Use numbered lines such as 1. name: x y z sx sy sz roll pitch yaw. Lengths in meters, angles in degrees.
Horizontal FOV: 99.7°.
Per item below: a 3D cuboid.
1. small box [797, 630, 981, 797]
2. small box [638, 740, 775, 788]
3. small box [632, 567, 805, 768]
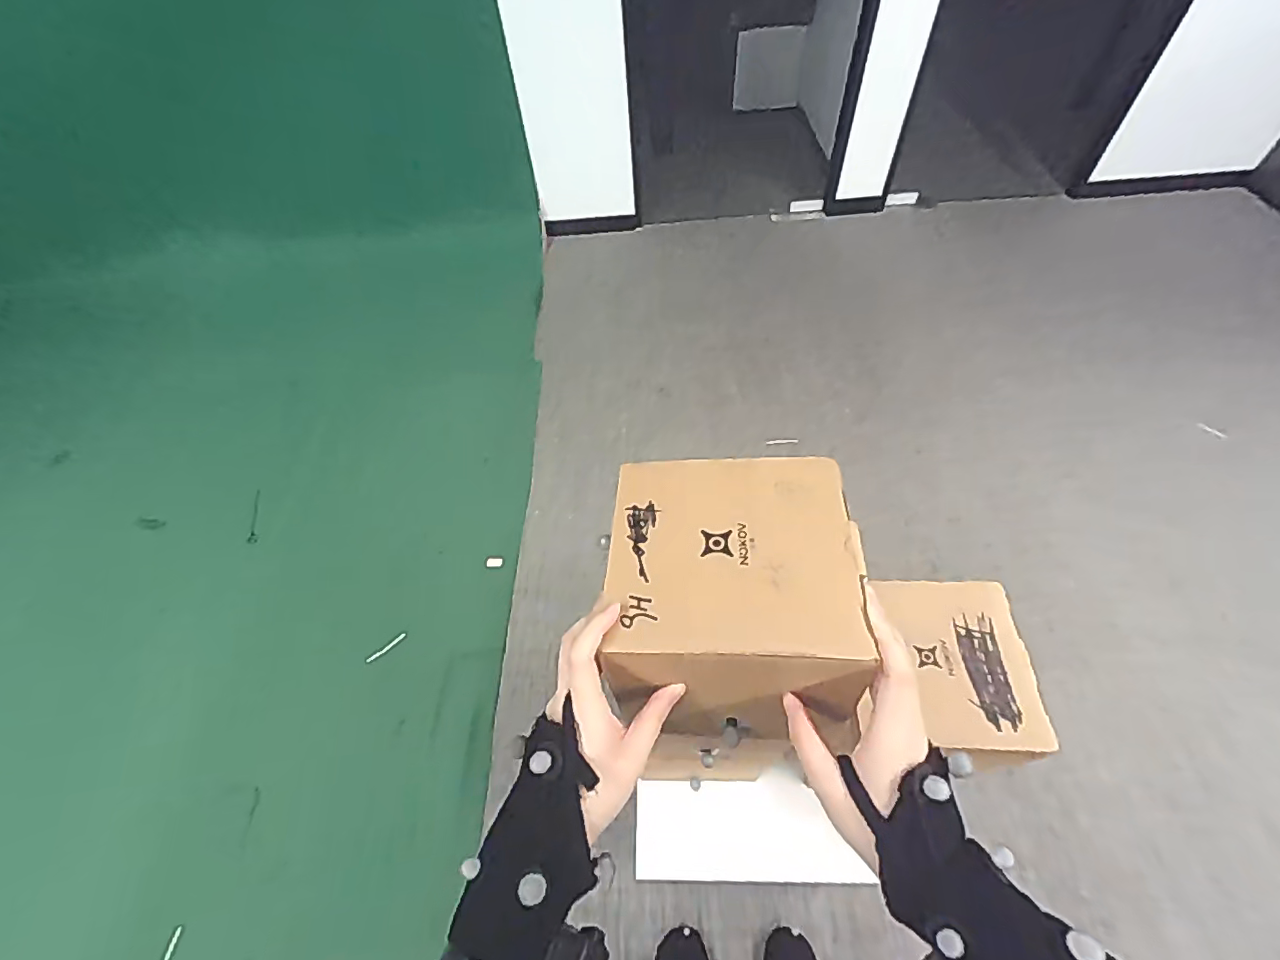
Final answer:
1. small box: 0.315 0.318 0.733 0.168 0.176 0.179 -1 55 4
2. small box: 0.085 0.317 0.753 0.168 0.176 0.179 -1 55 3
3. small box: 0.080 0.217 0.623 0.168 0.176 0.179 0 54 4
